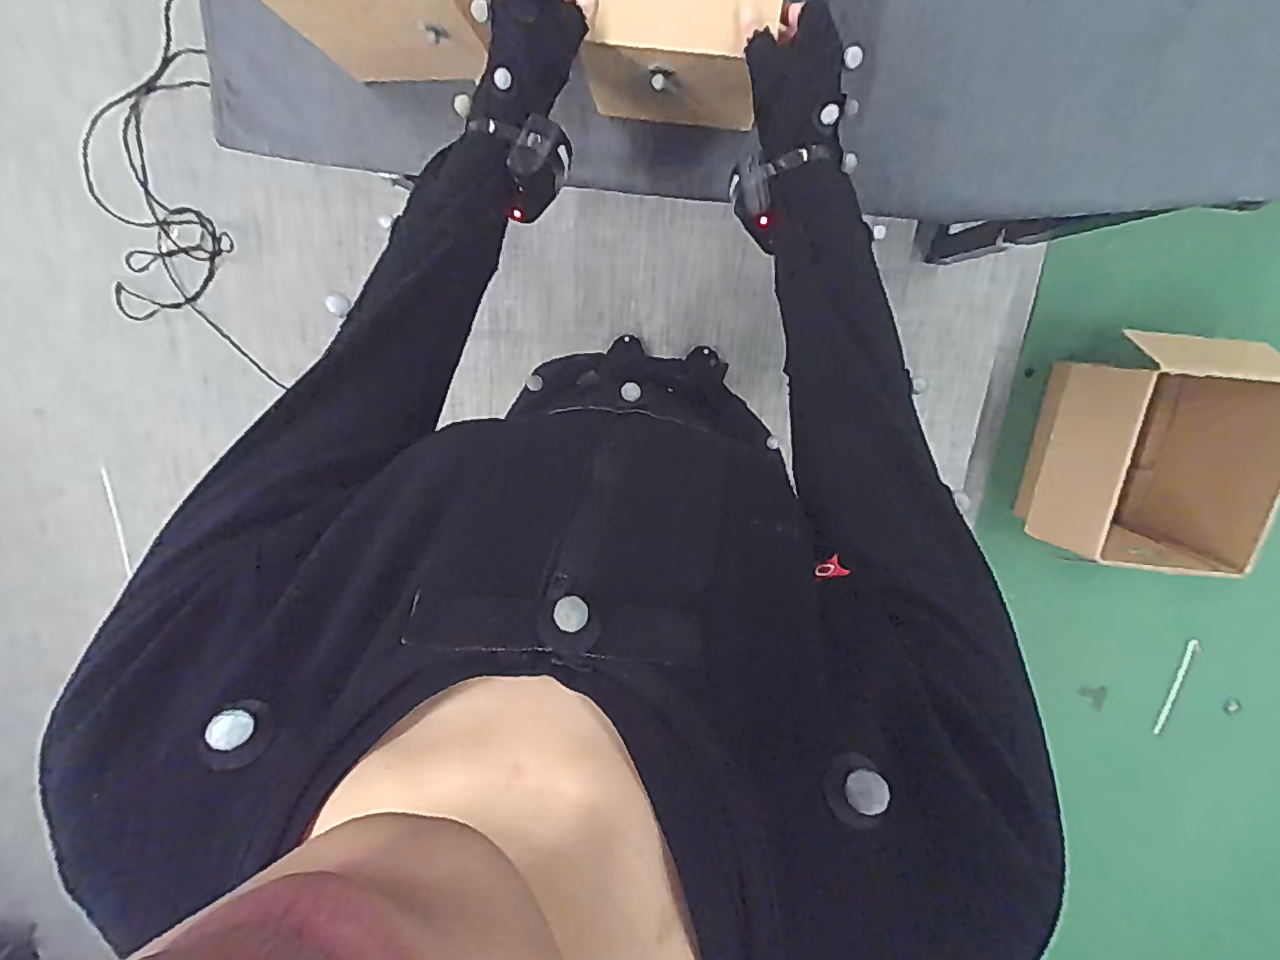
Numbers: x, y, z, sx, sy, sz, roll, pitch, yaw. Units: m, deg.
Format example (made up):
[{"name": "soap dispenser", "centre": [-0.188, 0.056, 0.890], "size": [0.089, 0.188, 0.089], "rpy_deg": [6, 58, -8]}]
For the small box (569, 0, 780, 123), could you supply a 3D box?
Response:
[{"name": "small box", "centre": [0.040, -0.463, 0.511], "size": [0.179, 0.176, 0.168], "rpy_deg": [7, 106, 2]}]
